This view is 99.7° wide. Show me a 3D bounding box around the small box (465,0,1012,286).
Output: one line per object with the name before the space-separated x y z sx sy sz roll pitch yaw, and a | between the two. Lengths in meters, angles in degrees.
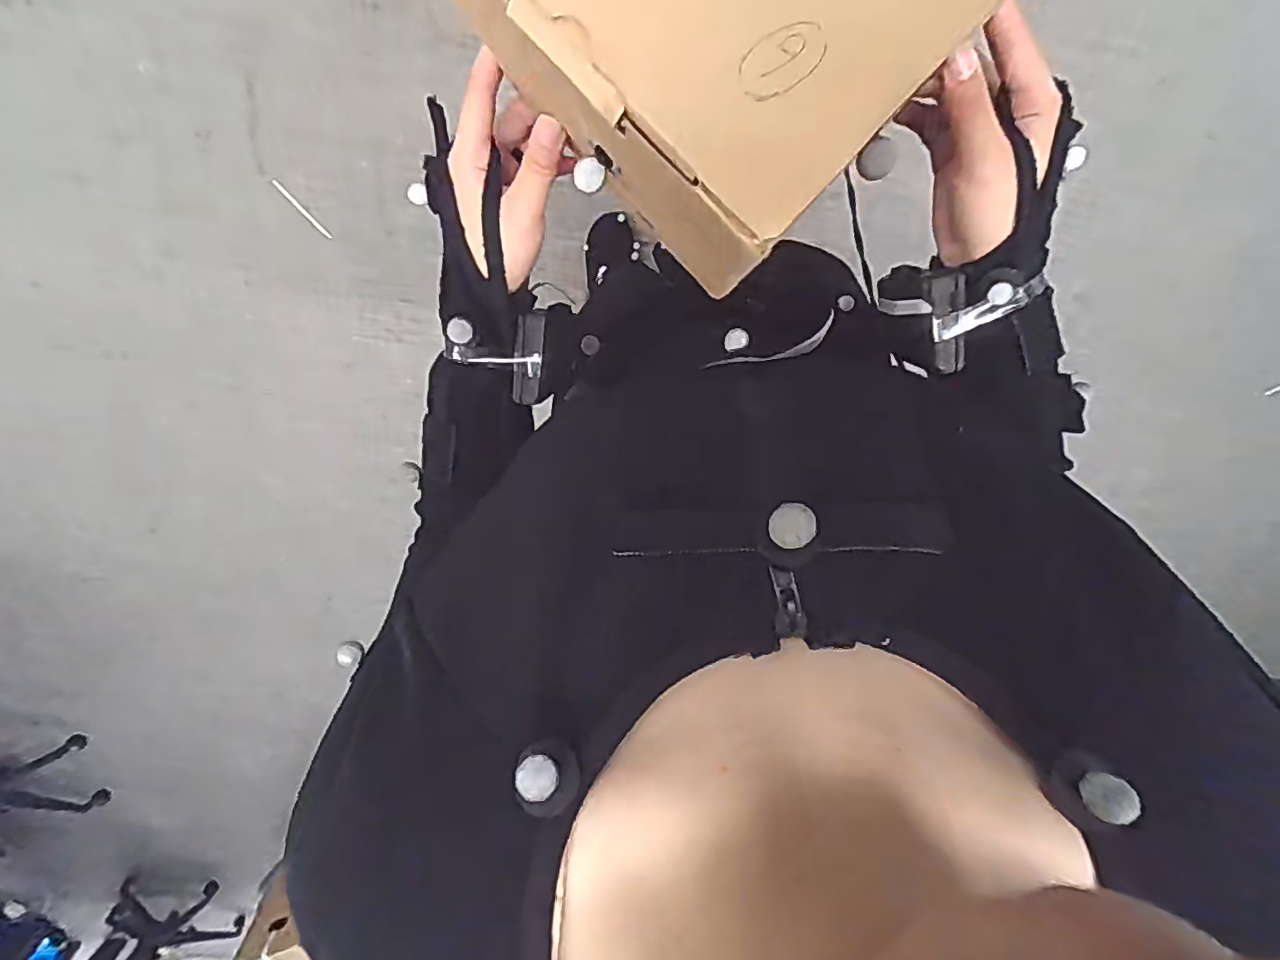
small box | 0.042 -0.202 0.219 0.168 0.176 0.179 44 104 -7
